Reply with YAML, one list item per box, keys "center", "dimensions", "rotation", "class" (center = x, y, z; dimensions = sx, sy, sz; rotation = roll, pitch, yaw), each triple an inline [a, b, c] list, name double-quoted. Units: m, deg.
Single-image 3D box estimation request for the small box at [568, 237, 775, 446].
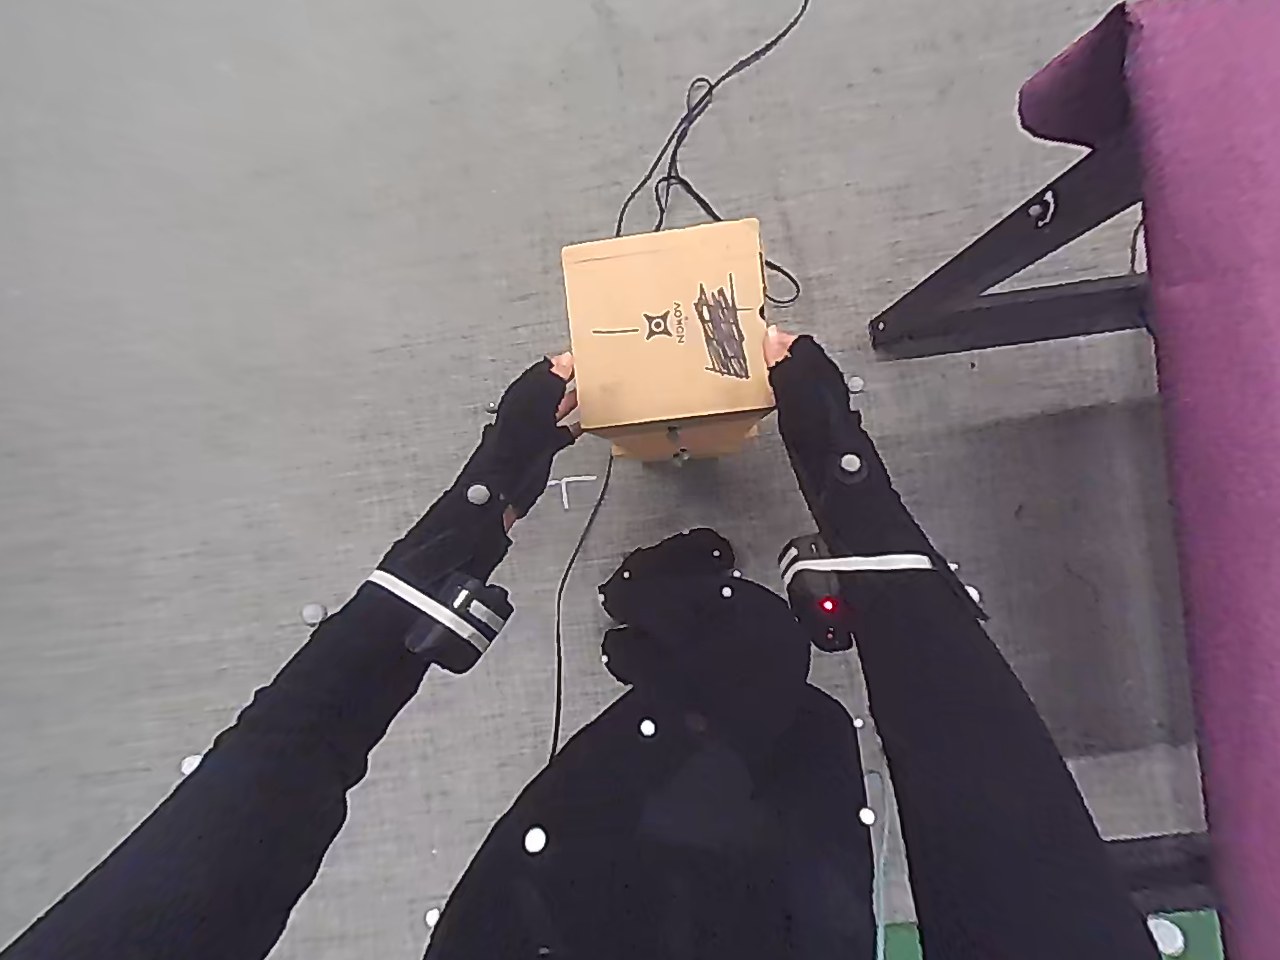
- center: [0.033, -0.126, 0.557]
  dimensions: [0.179, 0.176, 0.168]
  rotation: [-5, 90, 6]
  class: "small box"
